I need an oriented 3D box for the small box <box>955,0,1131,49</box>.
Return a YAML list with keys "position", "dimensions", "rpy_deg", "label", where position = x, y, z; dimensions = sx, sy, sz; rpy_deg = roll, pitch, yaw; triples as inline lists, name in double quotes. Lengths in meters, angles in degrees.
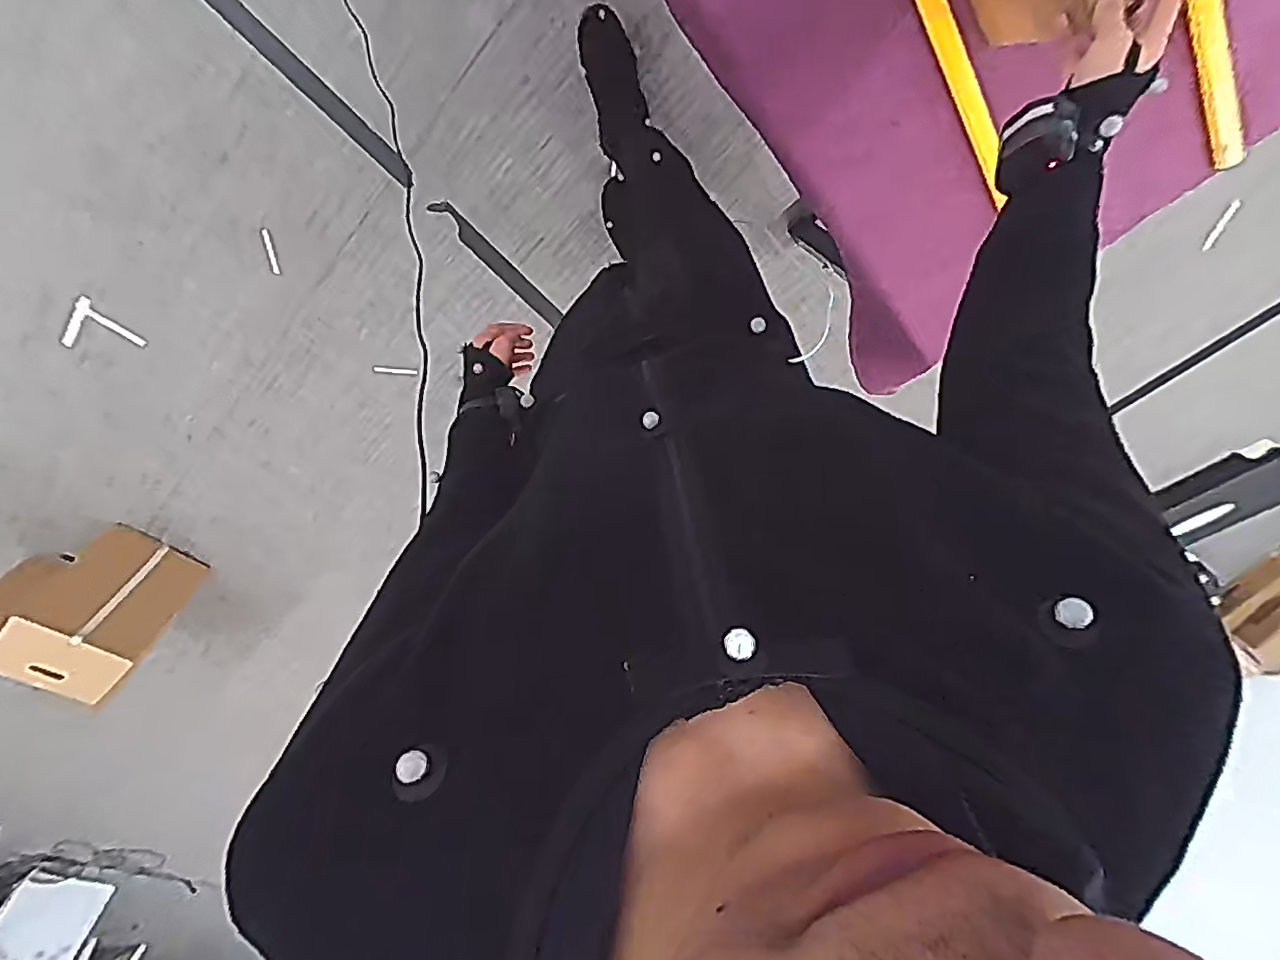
- position: [0.401, -0.547, 0.499]
  dimensions: [0.168, 0.176, 0.179]
  rpy_deg: [-38, 121, 22]
  label: "small box"
